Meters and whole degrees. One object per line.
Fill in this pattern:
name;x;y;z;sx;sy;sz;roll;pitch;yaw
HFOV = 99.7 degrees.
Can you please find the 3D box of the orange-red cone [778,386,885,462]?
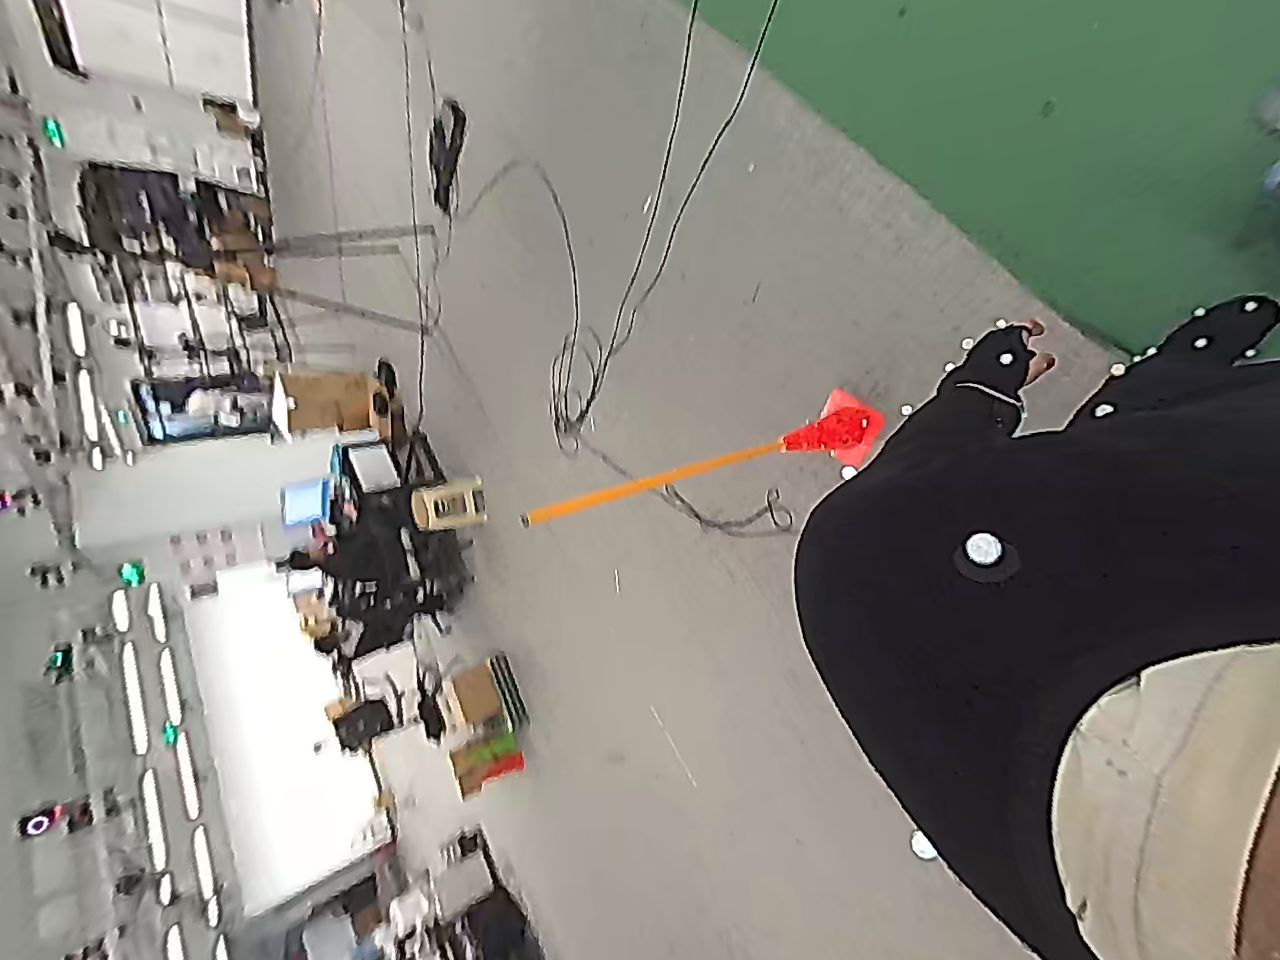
orange-red cone;0.547;-0.151;1.663;0.199;0.360;0.198;47;133;33
